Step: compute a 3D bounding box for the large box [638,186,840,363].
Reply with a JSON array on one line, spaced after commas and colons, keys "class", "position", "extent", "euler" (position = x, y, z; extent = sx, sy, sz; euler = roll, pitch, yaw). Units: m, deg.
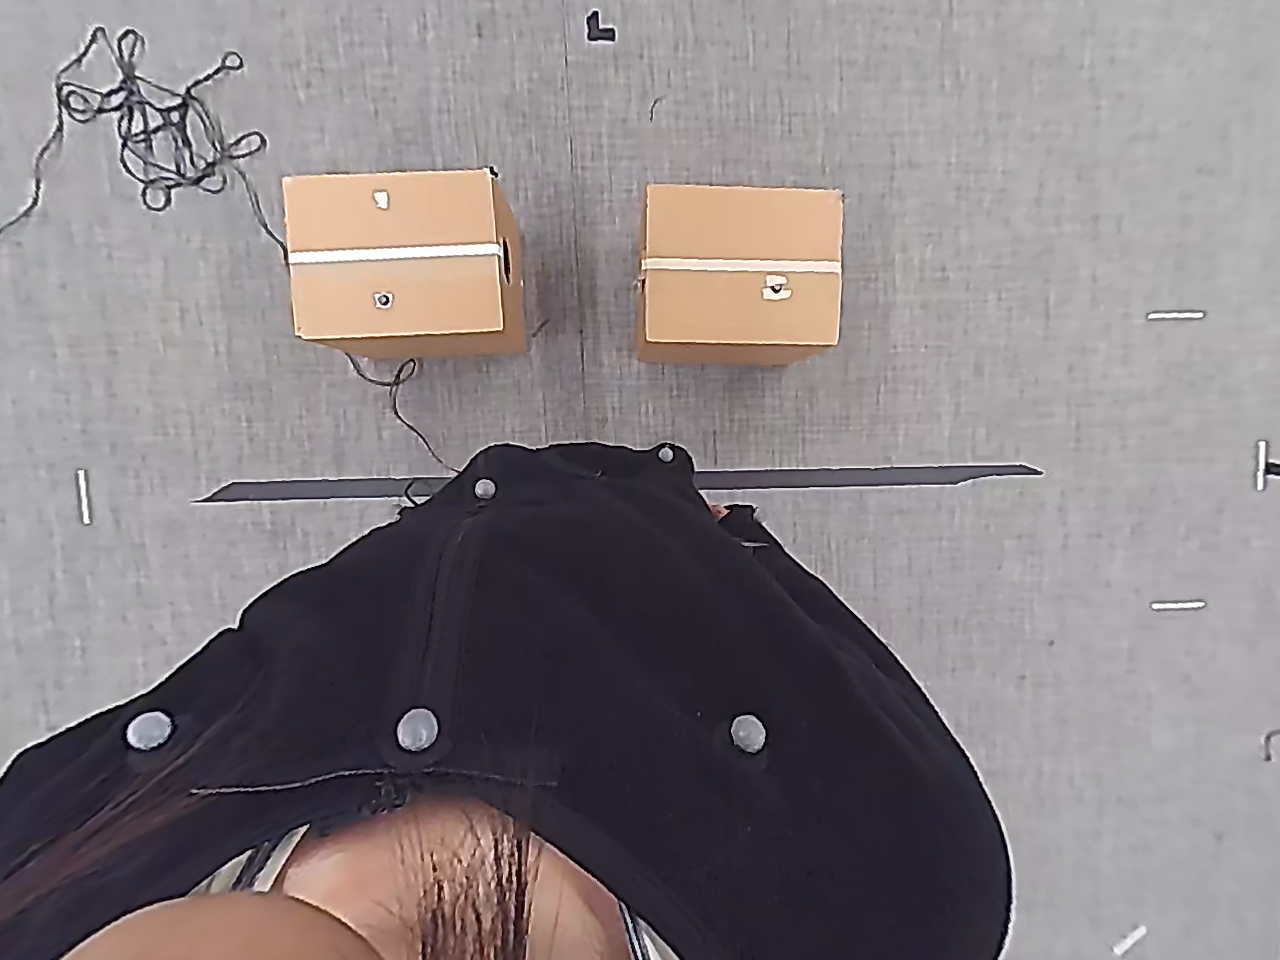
[{"class": "large box", "position": [0.204, -0.450, 1.259], "extent": [0.408, 0.320, 0.320], "euler": [1, 95, -4]}]
